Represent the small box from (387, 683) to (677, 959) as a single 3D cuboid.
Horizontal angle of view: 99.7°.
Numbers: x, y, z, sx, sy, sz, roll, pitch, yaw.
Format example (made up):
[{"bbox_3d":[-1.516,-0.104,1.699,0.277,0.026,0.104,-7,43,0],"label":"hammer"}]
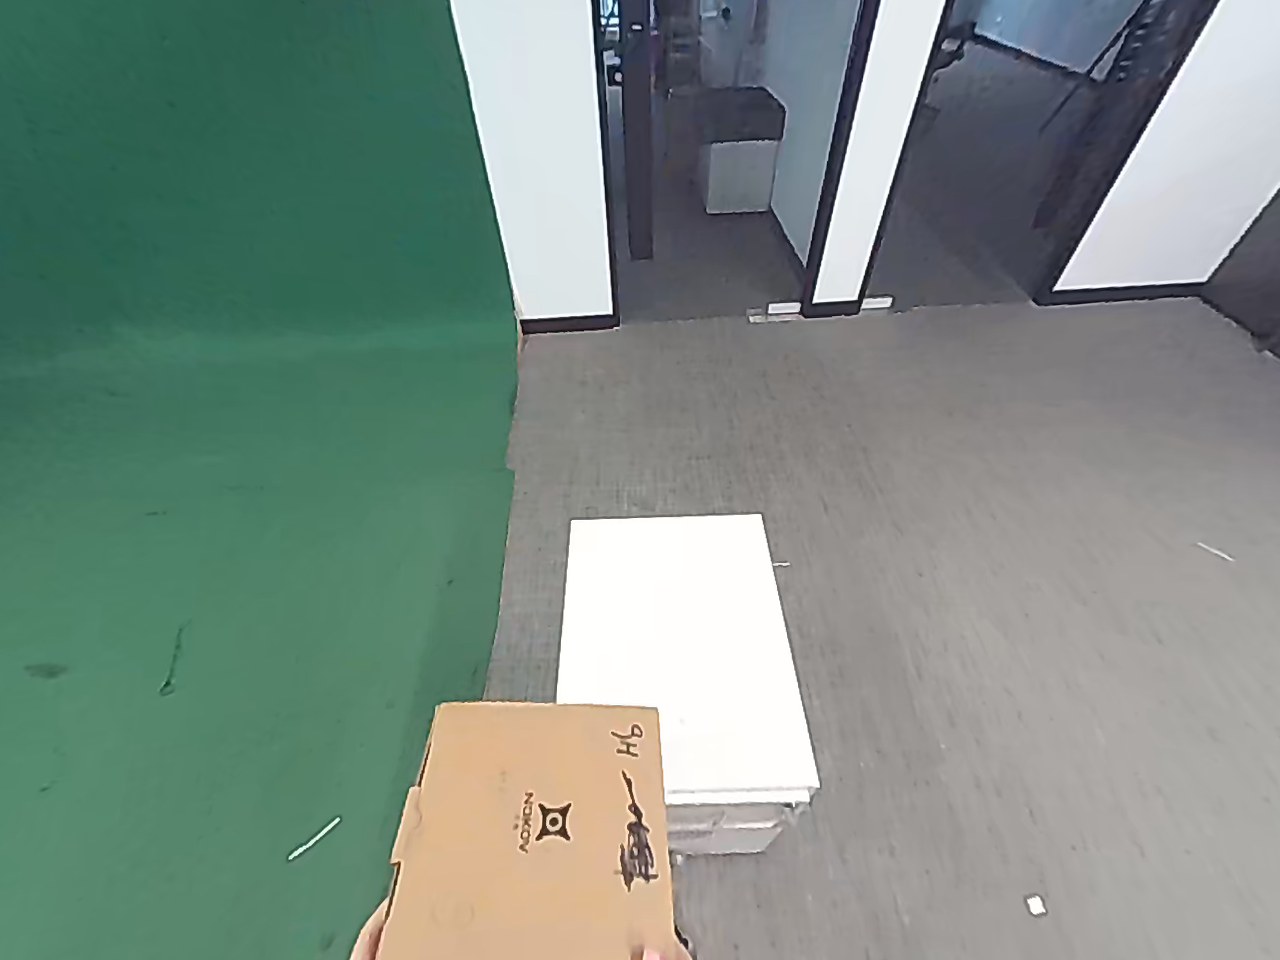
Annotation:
[{"bbox_3d":[-0.075,0.282,0.432,0.179,0.176,0.168,4,41,-7],"label":"small box"}]
